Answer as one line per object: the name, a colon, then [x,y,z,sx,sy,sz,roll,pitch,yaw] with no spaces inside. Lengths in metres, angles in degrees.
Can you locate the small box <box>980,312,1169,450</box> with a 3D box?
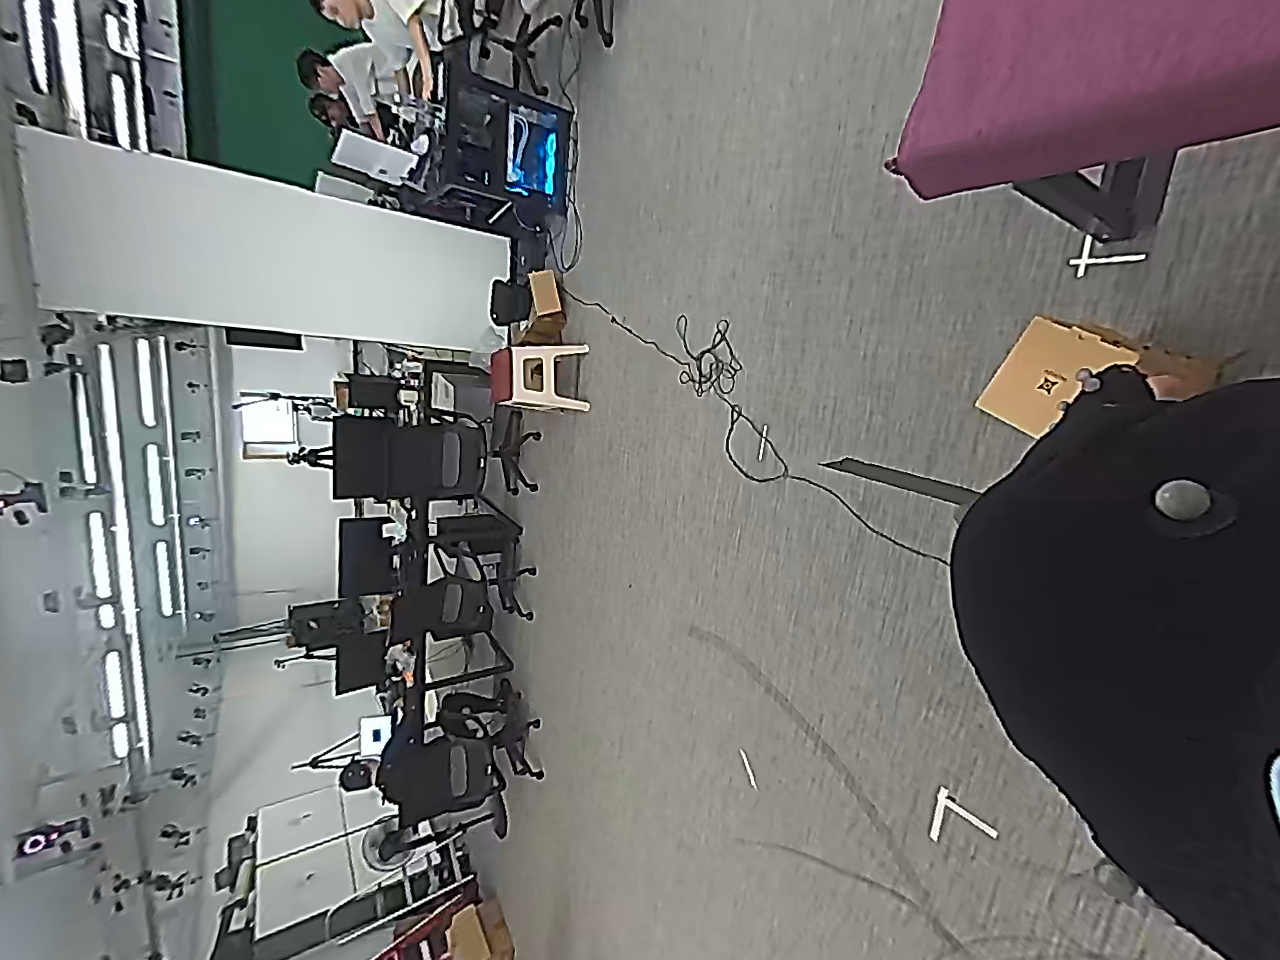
small box: [0.743,-0.165,0.928,0.168,0.176,0.179,49,131,42]

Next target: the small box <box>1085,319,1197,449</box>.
small box: [0.881,-0.178,1.015,0.168,0.176,0.179,56,136,37]
